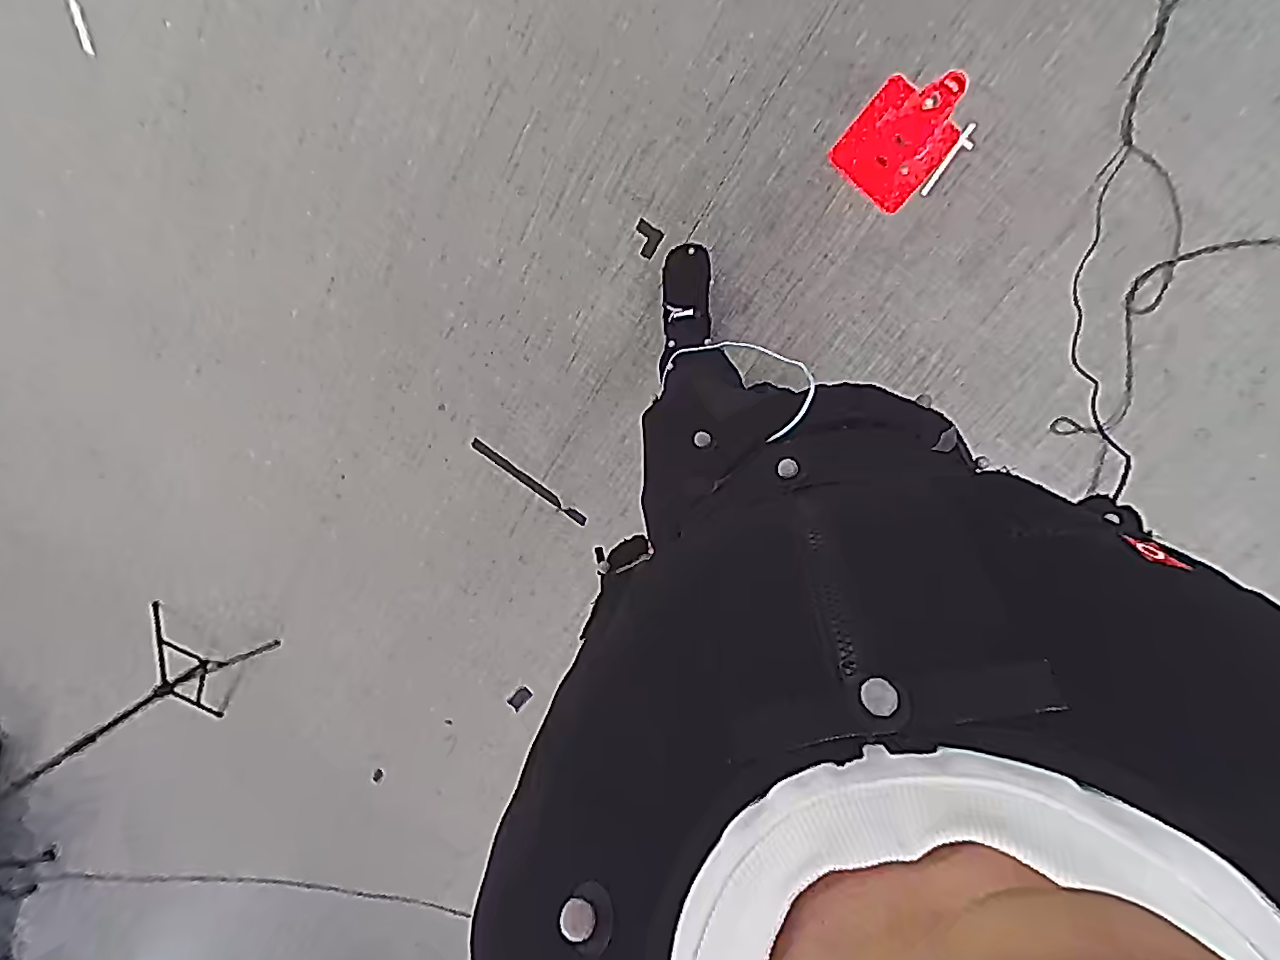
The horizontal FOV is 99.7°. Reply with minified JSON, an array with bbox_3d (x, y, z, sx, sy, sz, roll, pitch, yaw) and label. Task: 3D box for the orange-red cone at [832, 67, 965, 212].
[{"bbox_3d":[0.511,-0.664,0.995,0.199,0.360,0.198,42,109,-3],"label":"orange-red cone"}]
